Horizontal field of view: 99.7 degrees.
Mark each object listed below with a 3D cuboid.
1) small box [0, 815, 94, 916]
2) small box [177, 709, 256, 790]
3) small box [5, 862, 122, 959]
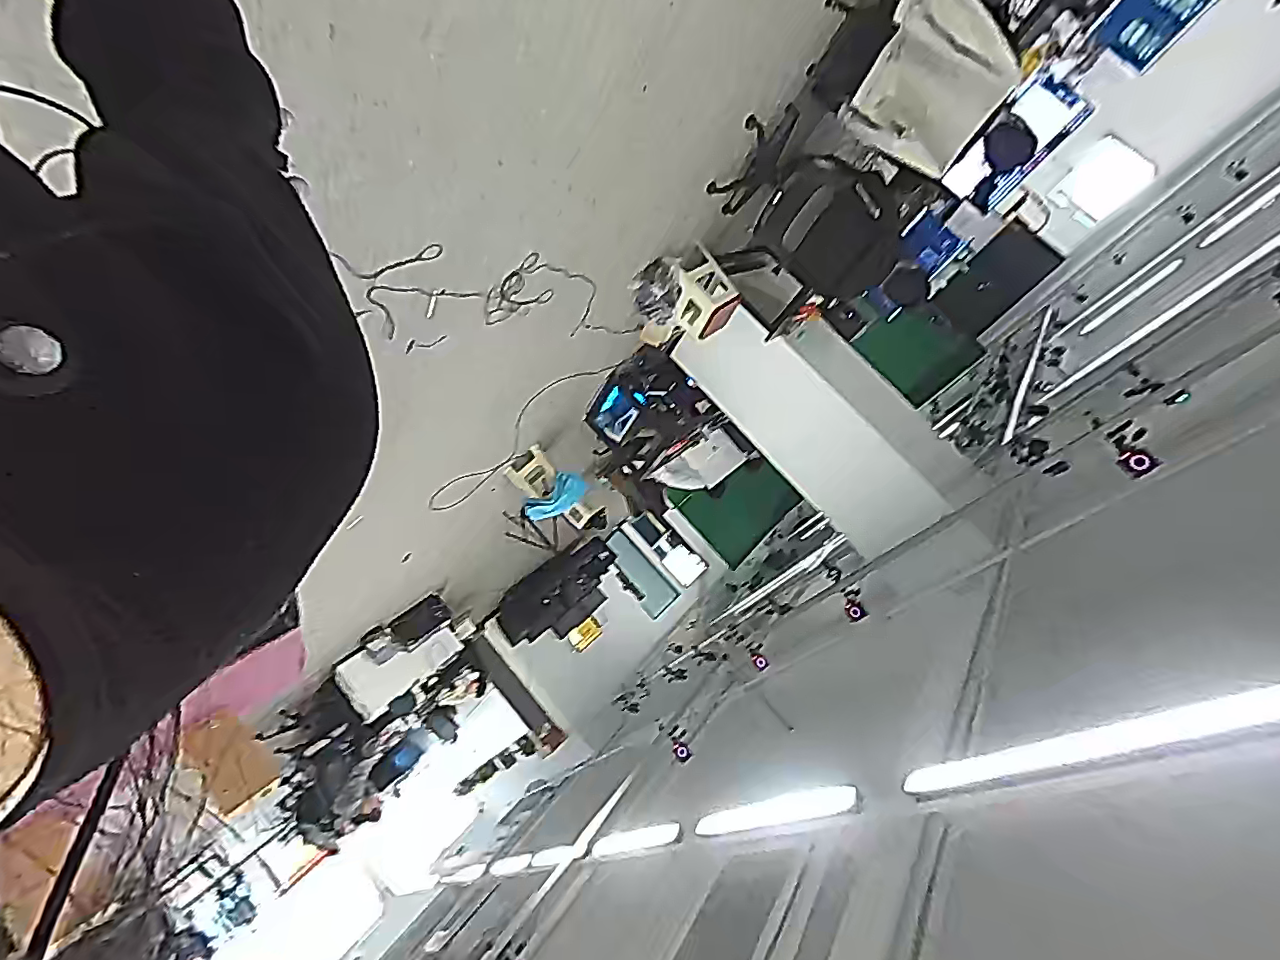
[{"bbox_3d":[-1.784,1.145,1.602,0.179,0.176,0.168,-33,166,-49],"label":"small box"},{"bbox_3d":[-1.504,0.952,1.920,0.168,0.176,0.179,-33,165,-51],"label":"small box"},{"bbox_3d":[-1.674,1.263,1.578,0.179,0.176,0.168,-33,166,-50],"label":"small box"}]
